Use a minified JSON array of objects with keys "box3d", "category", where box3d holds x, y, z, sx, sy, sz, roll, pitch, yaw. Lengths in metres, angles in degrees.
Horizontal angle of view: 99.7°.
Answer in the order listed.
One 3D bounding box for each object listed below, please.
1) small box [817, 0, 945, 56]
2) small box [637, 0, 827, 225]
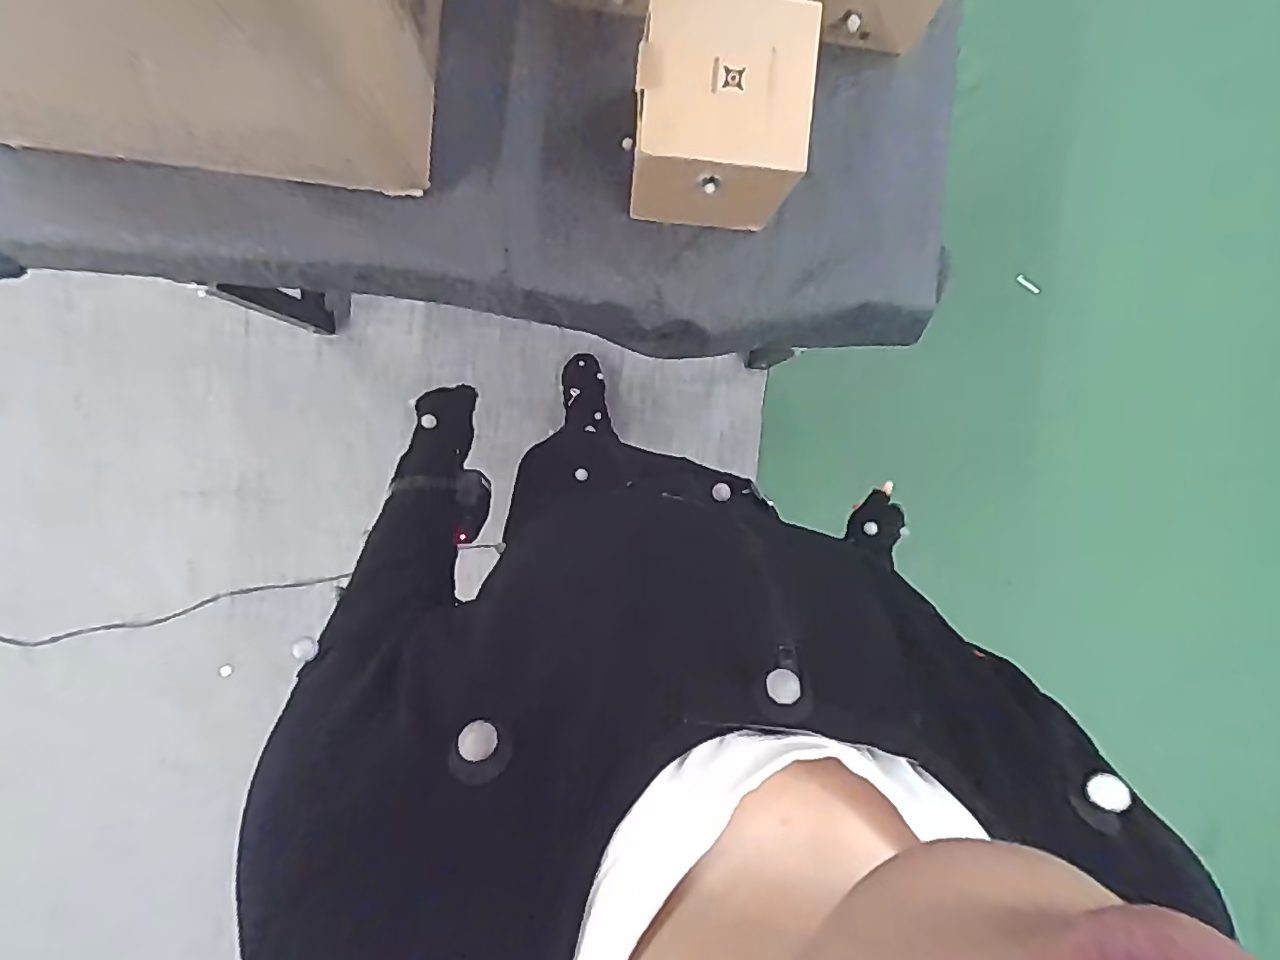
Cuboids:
[{"box3d":[0.282,-0.645,0.618,0.168,0.176,0.179,7,95,-4],"category":"small box"},{"box3d":[0.091,-0.414,0.625,0.179,0.176,0.168,4,95,-4],"category":"small box"}]
